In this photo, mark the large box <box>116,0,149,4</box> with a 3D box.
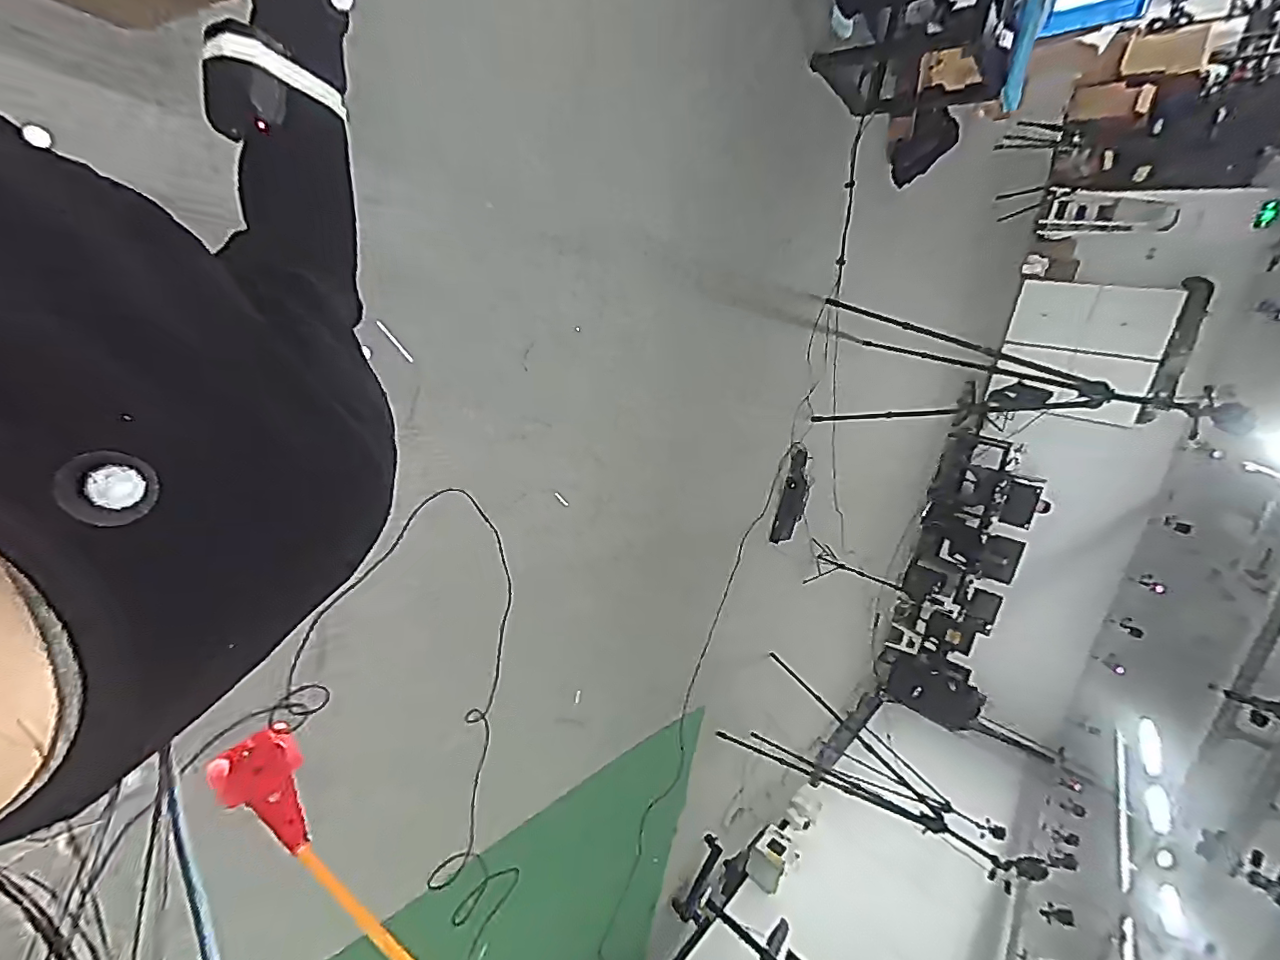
[{"bbox_3d":[-0.473,-0.520,0.254,0.408,0.320,0.320,-13,120,-51],"label":"large box"}]
